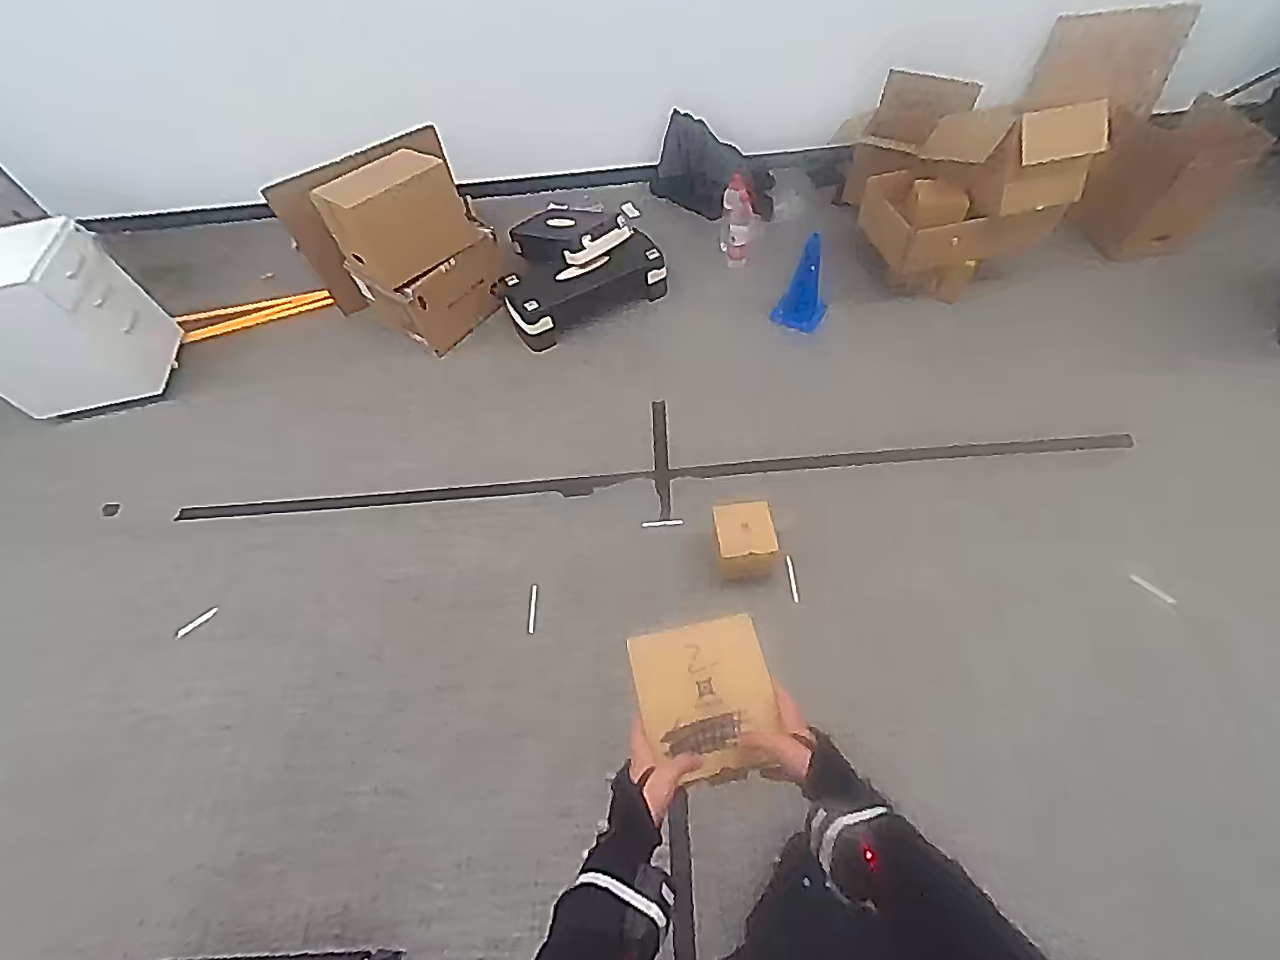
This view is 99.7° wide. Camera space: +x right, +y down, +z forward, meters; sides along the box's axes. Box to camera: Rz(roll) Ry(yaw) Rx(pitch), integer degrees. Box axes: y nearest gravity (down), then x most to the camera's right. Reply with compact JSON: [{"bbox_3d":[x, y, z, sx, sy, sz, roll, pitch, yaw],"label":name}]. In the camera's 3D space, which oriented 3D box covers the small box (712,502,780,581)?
[{"bbox_3d":[0.315,0.189,1.642,0.168,0.176,0.179,-7,58,1],"label":"small box"}]
